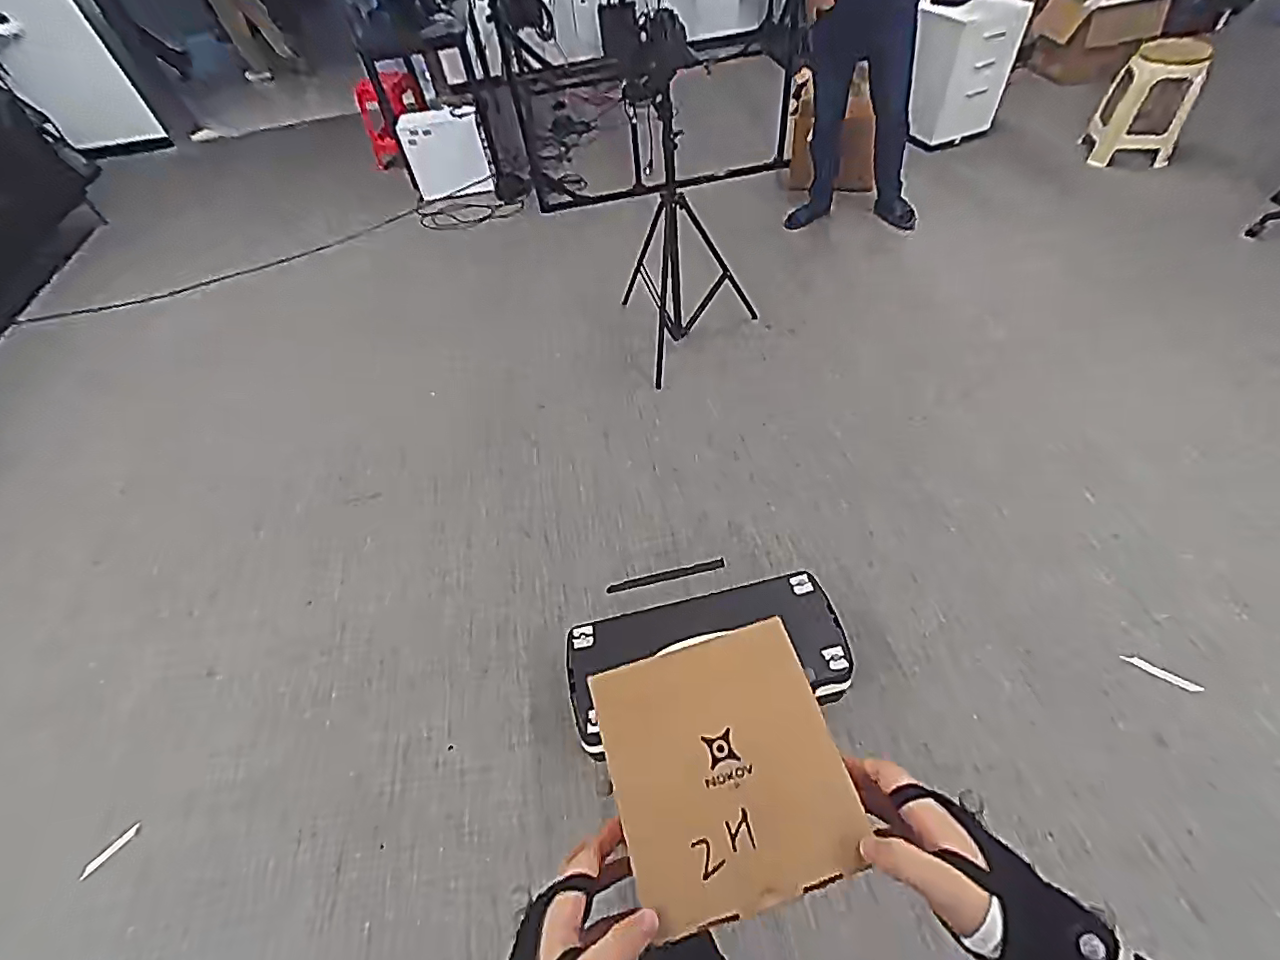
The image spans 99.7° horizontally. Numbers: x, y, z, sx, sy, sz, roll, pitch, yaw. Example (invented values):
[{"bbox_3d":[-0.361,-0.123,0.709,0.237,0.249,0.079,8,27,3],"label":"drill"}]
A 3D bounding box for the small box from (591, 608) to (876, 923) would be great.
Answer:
[{"bbox_3d":[0.064,0.237,0.466,0.168,0.176,0.179,-16,60,-4],"label":"small box"}]
